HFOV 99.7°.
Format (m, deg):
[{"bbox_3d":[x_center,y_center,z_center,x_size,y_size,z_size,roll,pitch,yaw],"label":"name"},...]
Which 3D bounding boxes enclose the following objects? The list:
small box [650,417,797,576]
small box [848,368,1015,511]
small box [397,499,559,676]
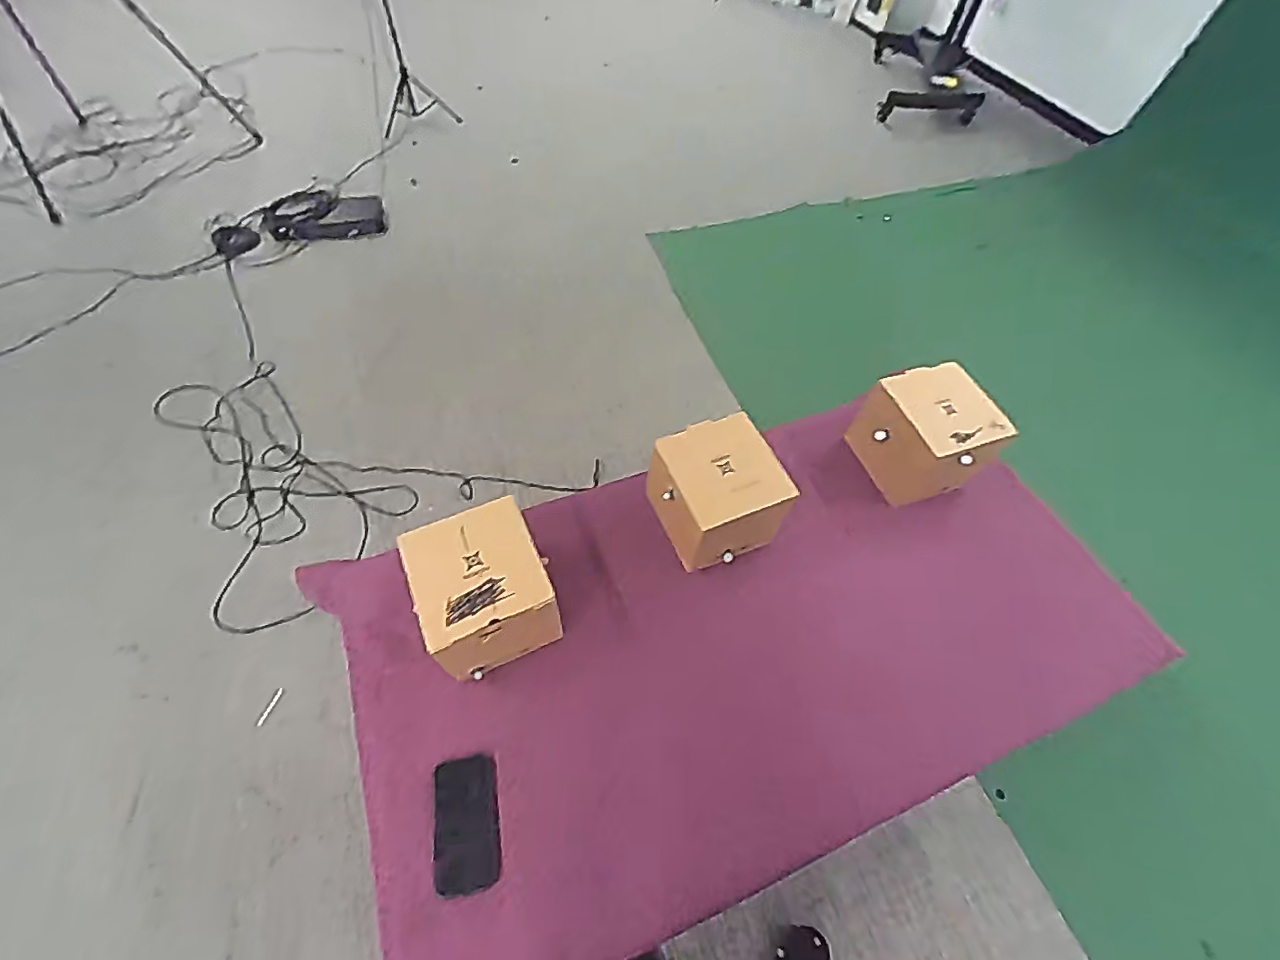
[{"bbox_3d":[0.123,0.030,0.891,0.168,0.176,0.179,-18,60,-14],"label":"small box"},{"bbox_3d":[0.512,-0.071,0.981,0.168,0.176,0.179,-15,58,-12],"label":"small box"},{"bbox_3d":[-0.224,0.163,0.778,0.168,0.176,0.179,-20,59,-17],"label":"small box"}]
